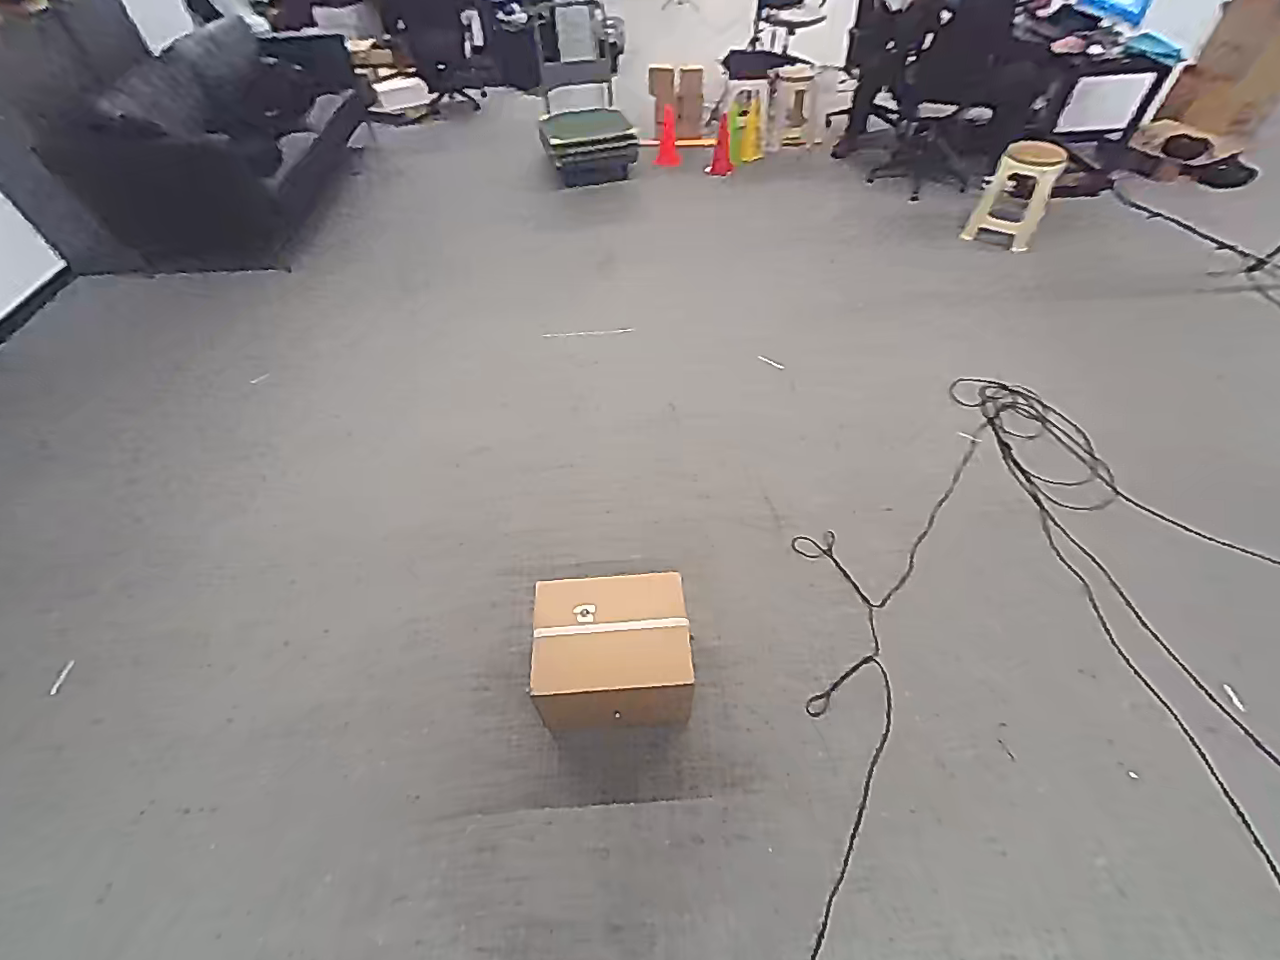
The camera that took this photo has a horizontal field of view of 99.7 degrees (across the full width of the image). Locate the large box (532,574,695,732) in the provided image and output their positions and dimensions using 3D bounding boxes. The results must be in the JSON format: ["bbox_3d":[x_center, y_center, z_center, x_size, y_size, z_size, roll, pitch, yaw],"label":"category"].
[{"bbox_3d":[-0.070,0.493,1.526,0.408,0.320,0.320,-5,49,-1],"label":"large box"}]
